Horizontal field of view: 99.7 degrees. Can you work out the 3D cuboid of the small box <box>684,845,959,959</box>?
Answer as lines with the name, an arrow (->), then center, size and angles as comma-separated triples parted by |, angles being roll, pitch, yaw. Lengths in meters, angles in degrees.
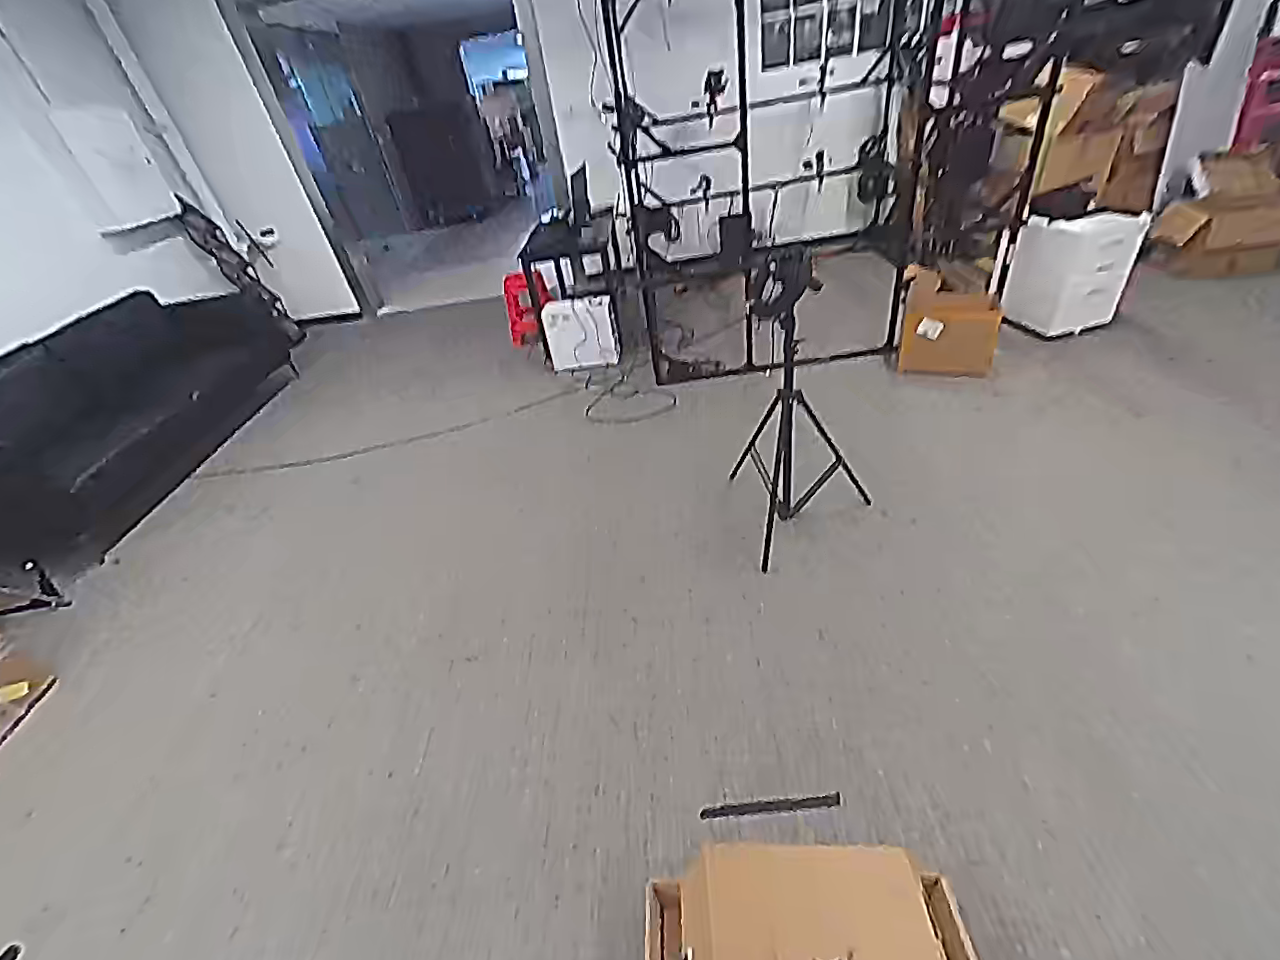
small box -> 0.135, 0.402, 0.423 | 0.179, 0.176, 0.168 | 1, 44, -3
